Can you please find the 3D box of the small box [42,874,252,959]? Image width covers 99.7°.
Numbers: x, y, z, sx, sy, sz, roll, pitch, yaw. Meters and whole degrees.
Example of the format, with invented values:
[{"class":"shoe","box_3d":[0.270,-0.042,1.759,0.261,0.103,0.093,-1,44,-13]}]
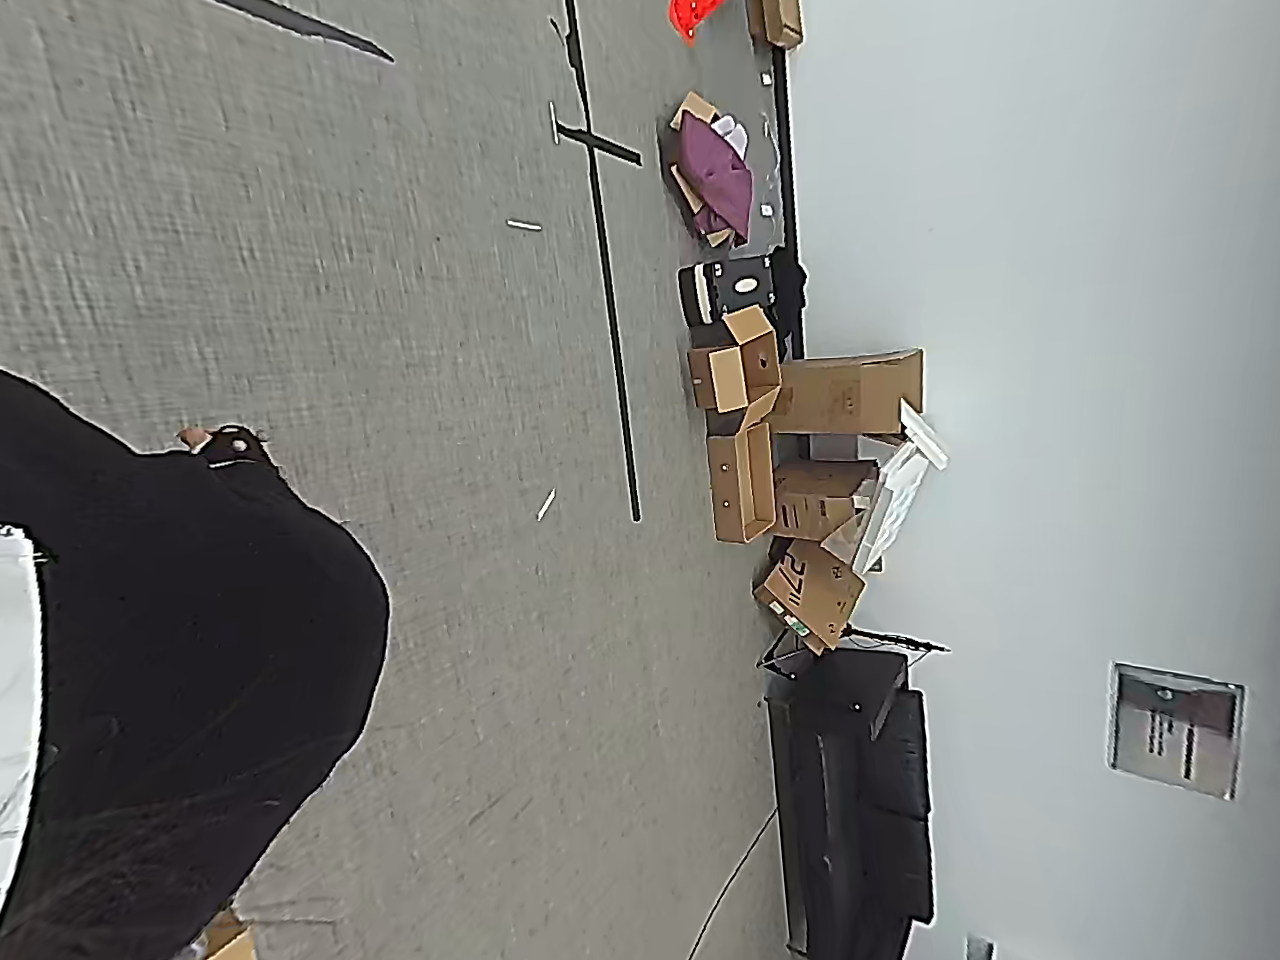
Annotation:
[{"class":"small box","box_3d":[-0.566,0.615,0.626,0.168,0.176,0.179,-21,105,-53]}]
